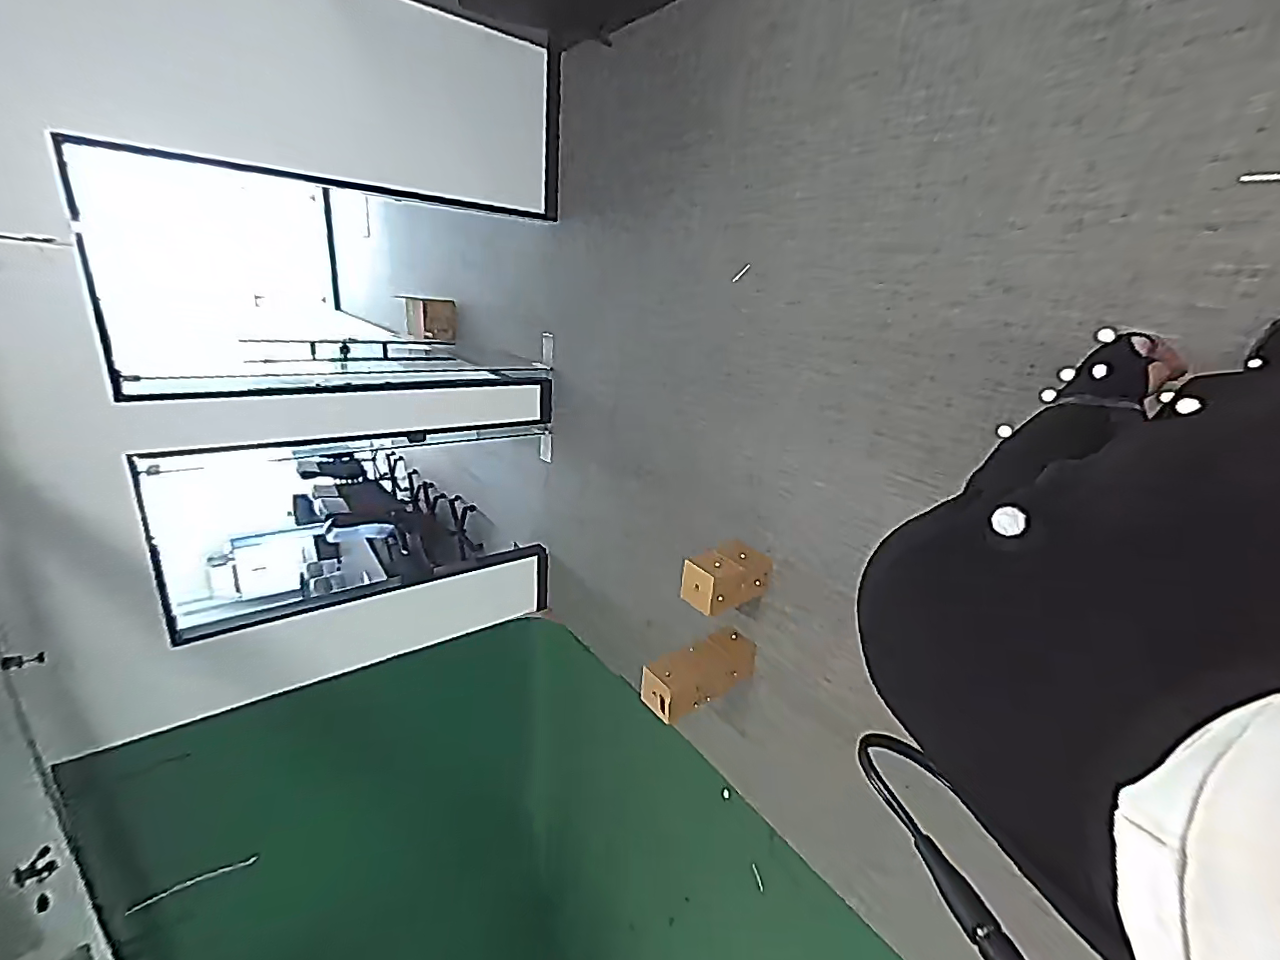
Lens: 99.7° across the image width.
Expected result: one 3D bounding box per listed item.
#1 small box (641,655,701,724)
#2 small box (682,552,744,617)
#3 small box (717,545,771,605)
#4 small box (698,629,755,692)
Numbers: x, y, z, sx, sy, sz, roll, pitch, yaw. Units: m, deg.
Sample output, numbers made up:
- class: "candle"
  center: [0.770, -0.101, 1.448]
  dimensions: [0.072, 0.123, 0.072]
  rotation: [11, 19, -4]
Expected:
- class: "small box"
  center: [0.124, 0.825, 2.151]
  dimensions: [0.179, 0.176, 0.168]
  rotation: [26, 118, 49]
- class: "small box"
  center: [0.287, 0.403, 2.122]
  dimensions: [0.168, 0.176, 0.179]
  rotation: [28, 120, 47]
- class: "small box"
  center: [0.412, 0.384, 2.225]
  dimensions: [0.179, 0.176, 0.168]
  rotation: [29, 119, 46]
- class: "small box"
  center: [0.378, 0.779, 2.354]
  dimensions: [0.168, 0.176, 0.179]
  rotation: [27, 118, 47]
